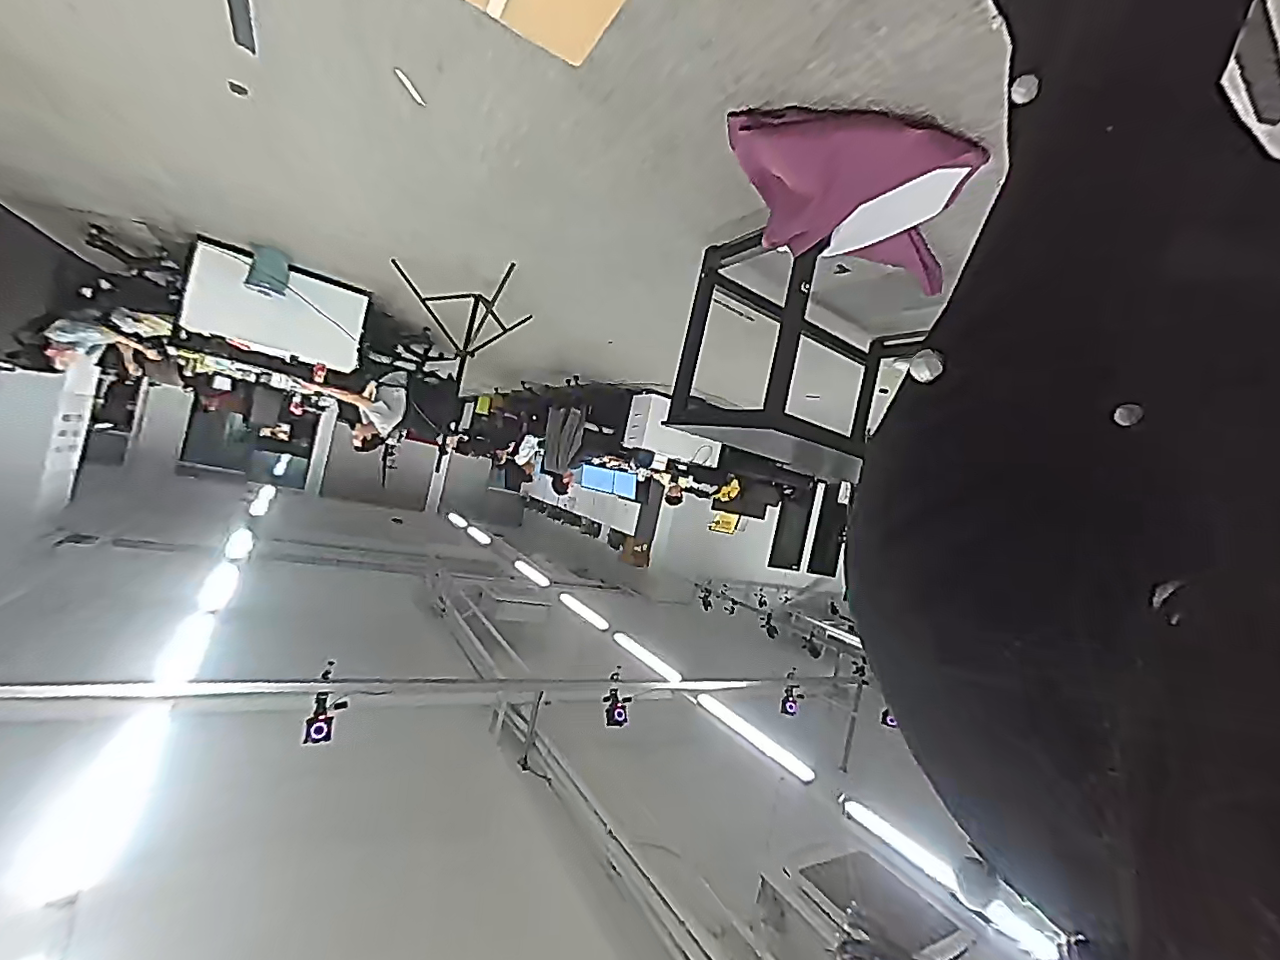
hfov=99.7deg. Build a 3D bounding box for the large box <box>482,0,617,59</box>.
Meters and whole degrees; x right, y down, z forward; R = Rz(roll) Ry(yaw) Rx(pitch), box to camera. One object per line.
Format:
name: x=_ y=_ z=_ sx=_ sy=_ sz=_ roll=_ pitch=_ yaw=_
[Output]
large box: x=-0.109 y=-0.877 z=0.681 sx=0.320 sy=0.320 sz=0.408 roll=12 pitch=179 yaw=-29
